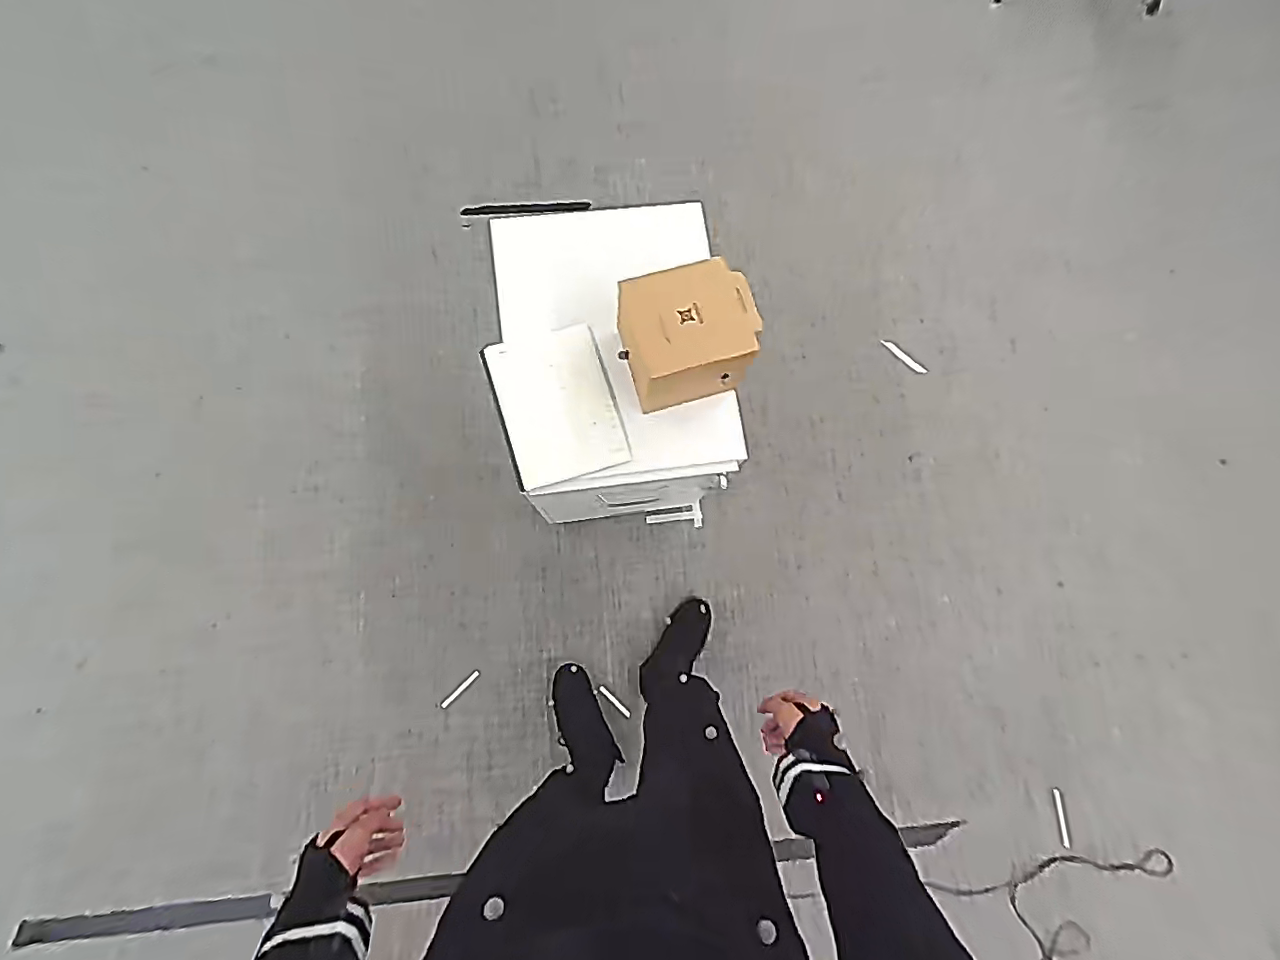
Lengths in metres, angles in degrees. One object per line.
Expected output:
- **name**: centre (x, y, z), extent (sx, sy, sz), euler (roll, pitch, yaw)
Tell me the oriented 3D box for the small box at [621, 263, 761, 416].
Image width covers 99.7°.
- **small box**: centre (0.073, -0.222, 0.888), extent (0.179, 0.176, 0.168), euler (-15, 80, -6)
